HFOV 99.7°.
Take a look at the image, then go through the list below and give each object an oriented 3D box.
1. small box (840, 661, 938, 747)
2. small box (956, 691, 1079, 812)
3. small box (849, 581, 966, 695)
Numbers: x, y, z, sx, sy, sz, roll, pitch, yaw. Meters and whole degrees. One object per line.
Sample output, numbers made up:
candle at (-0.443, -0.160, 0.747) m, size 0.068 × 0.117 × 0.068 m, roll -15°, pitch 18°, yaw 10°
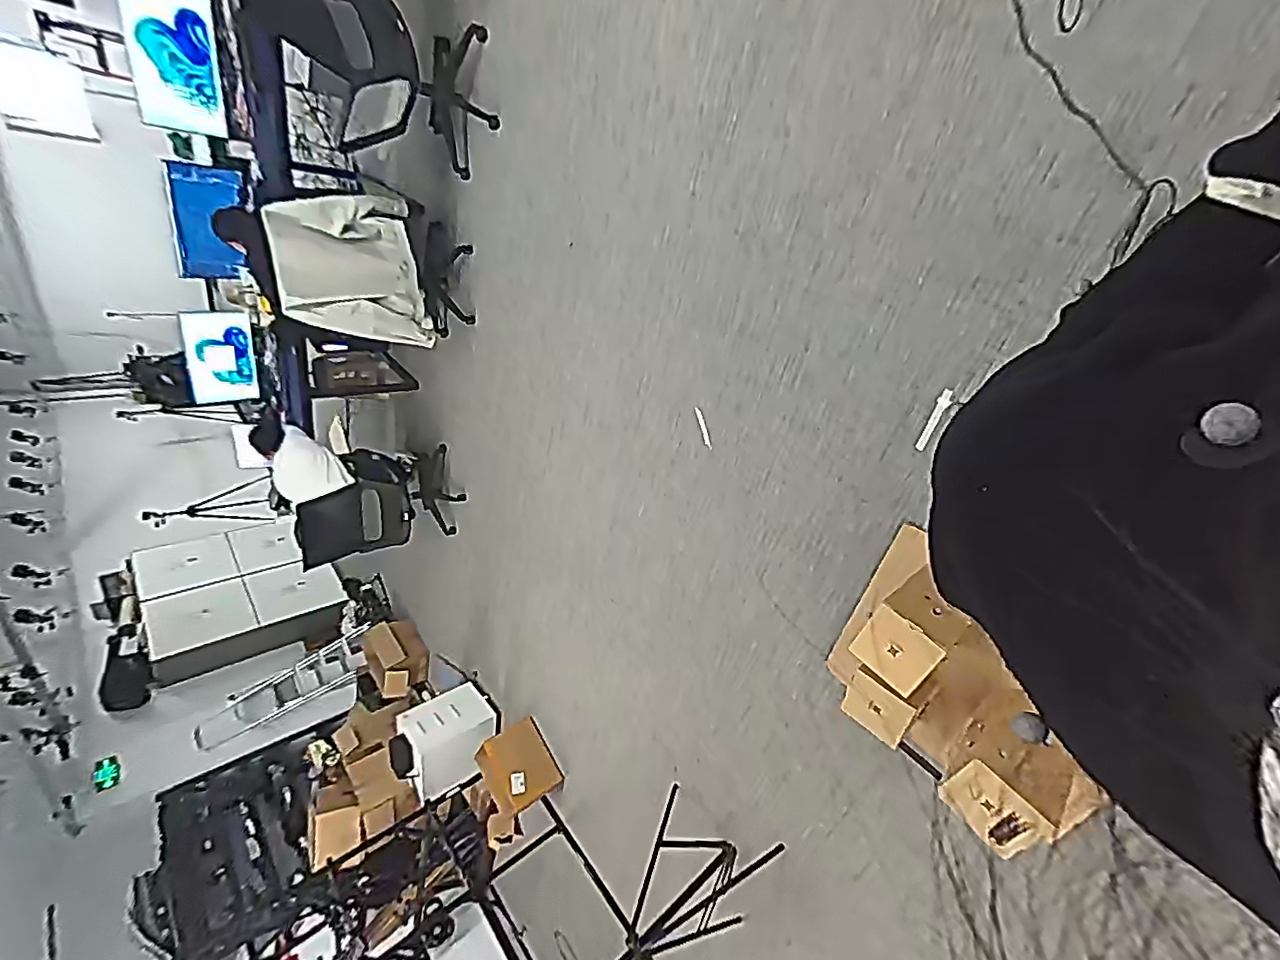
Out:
small box at (0.720, 0.619, 1.564) m, size 0.179 × 0.176 × 0.168 m, roll 34°, pitch 126°, yaw 38°
small box at (0.936, 0.664, 1.337) m, size 0.179 × 0.176 × 0.168 m, roll 45°, pitch 130°, yaw 27°
small box at (0.653, 0.379, 1.316) m, size 0.168 × 0.176 × 0.179 m, roll 41°, pitch 128°, yaw 32°
